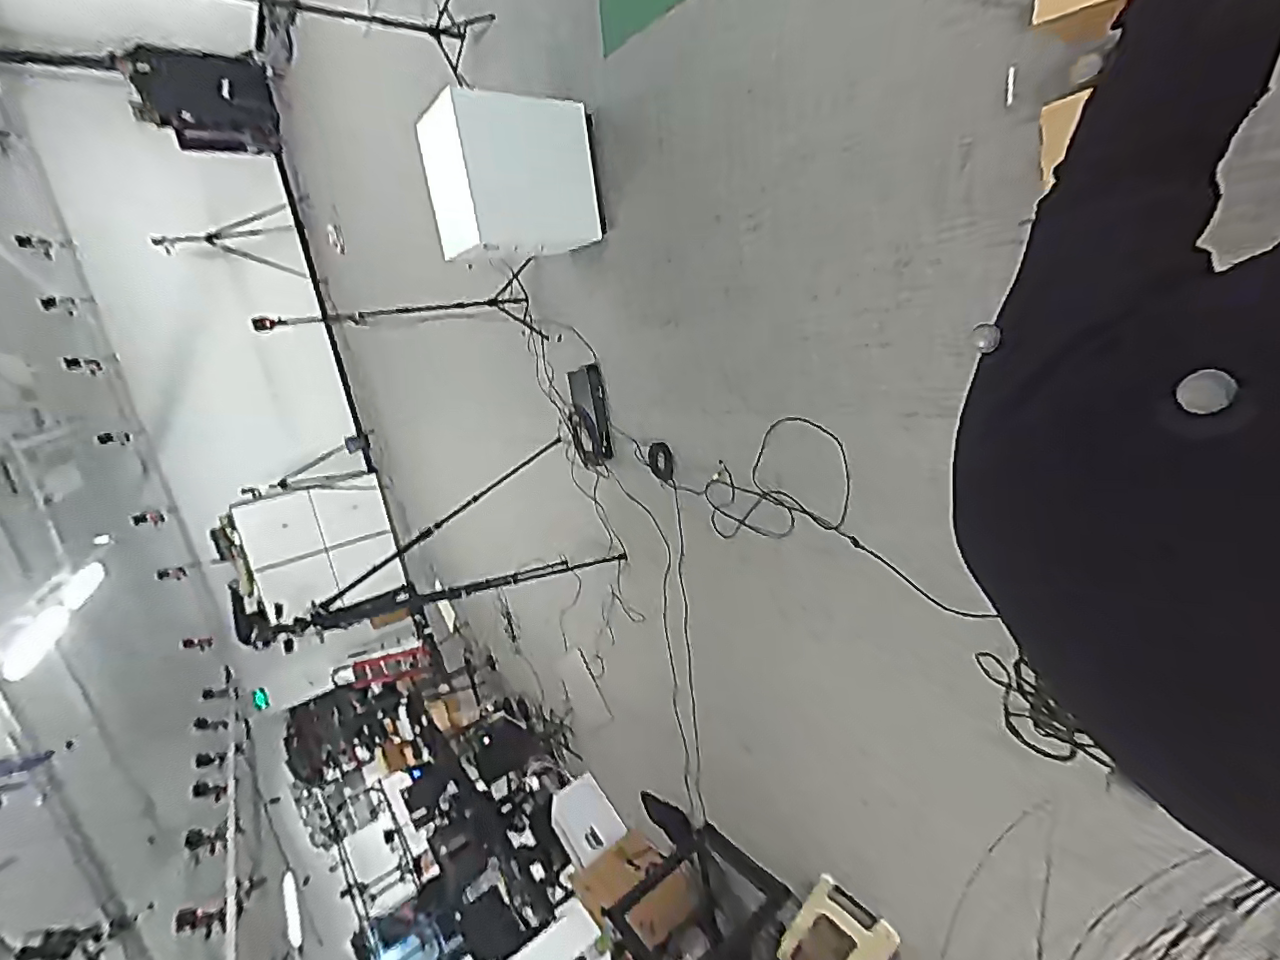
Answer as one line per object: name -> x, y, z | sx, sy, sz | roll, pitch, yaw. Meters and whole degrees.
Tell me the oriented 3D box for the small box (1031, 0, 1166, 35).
small box -> 0.826, -0.920, 0.945 | 0.179, 0.176, 0.168 | 18, 120, 49
